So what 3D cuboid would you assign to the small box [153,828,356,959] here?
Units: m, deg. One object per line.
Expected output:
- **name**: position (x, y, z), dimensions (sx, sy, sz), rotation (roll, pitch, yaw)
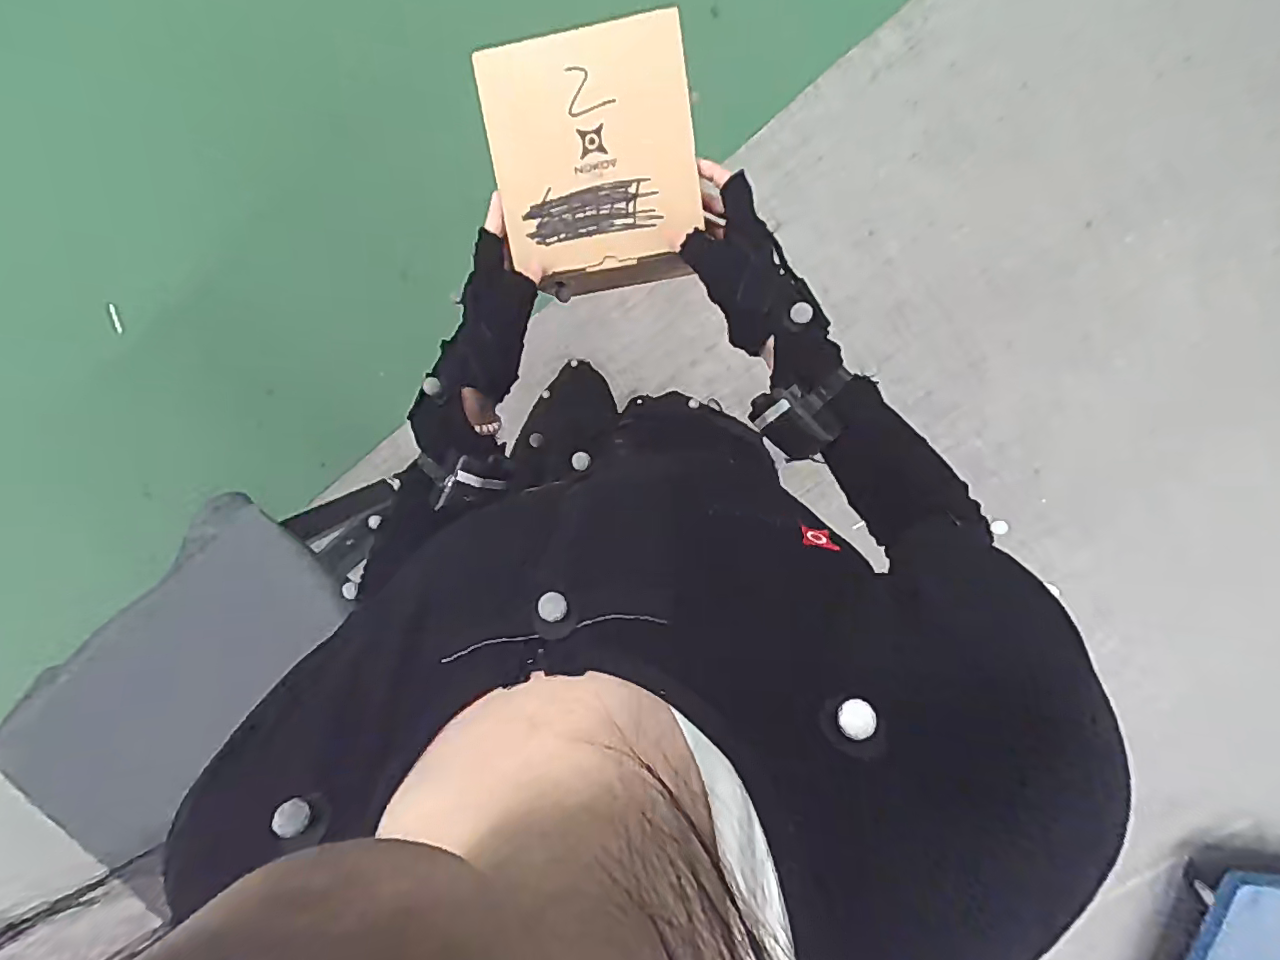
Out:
- **small box**: position (-0.591, 0.700, 0.841), dimensions (0.179, 0.176, 0.168), rotation (-38, 98, 7)
